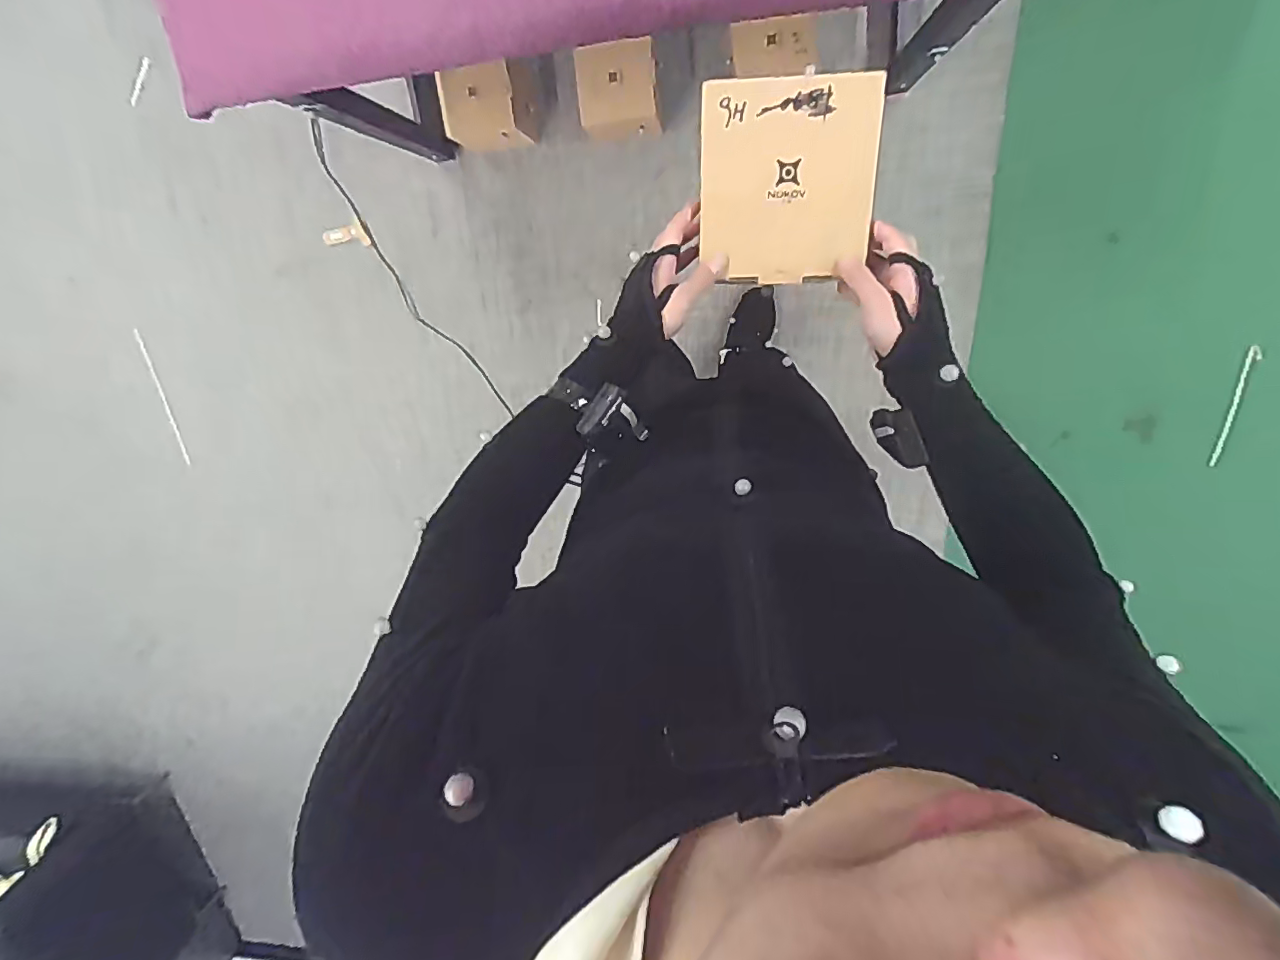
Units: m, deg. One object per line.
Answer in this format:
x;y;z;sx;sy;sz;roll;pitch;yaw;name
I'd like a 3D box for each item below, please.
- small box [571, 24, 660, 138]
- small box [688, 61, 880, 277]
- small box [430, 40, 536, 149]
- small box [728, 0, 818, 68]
-0.047;-0.912;1.250;0.179;0.176;0.168;-1;110;9;small box
0.139;-0.314;0.583;0.168;0.176;0.179;1;110;6;small box
-0.369;-0.915;1.299;0.179;0.176;0.168;-2;110;9;small box
0.288;-0.941;1.186;0.179;0.176;0.168;-4;111;10;small box
